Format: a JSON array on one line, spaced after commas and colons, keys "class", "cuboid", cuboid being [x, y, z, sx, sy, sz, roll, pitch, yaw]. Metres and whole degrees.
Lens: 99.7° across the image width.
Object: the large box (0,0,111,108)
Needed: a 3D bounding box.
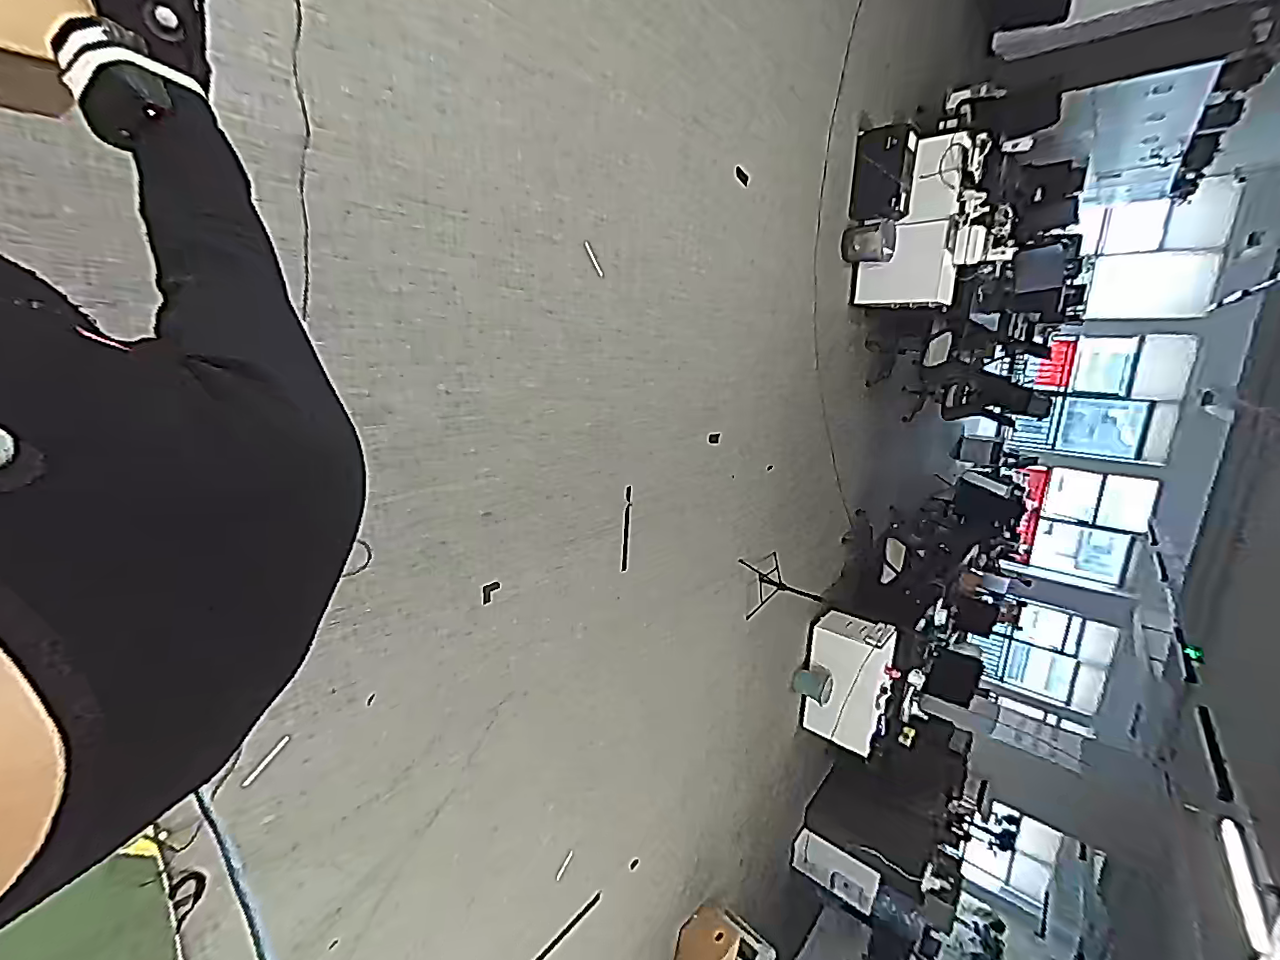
[{"class": "large box", "cuboid": [-0.643, -0.464, 0.310, 0.408, 0.320, 0.320, -18, 121, -49]}]
